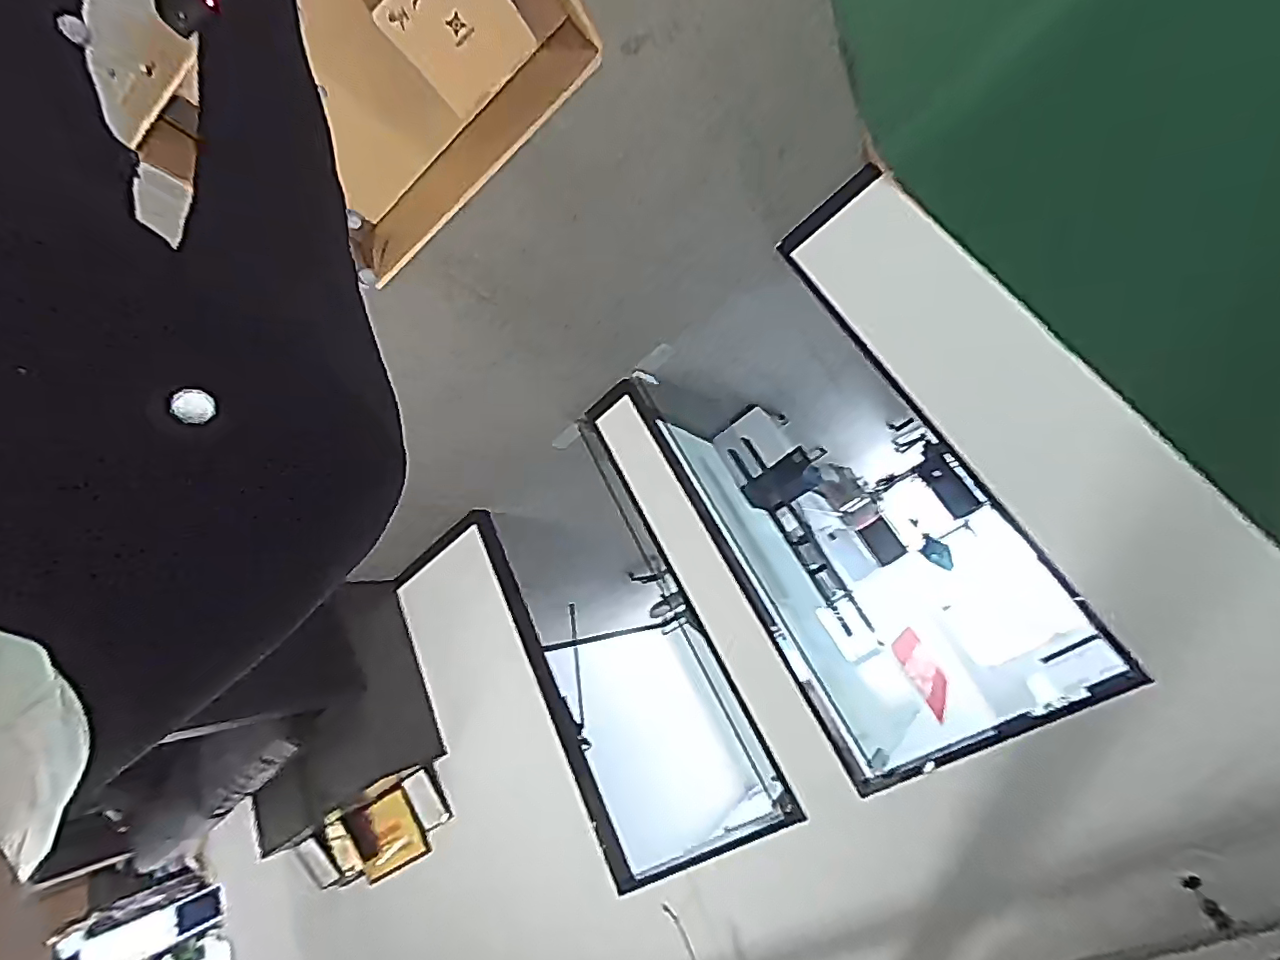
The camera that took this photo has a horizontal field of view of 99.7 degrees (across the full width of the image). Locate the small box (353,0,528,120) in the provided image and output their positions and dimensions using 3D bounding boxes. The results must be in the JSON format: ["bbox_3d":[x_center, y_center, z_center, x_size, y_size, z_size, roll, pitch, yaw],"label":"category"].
[{"bbox_3d":[-0.302,-0.698,0.797,0.168,0.176,0.179,-35,157,14],"label":"small box"}]
